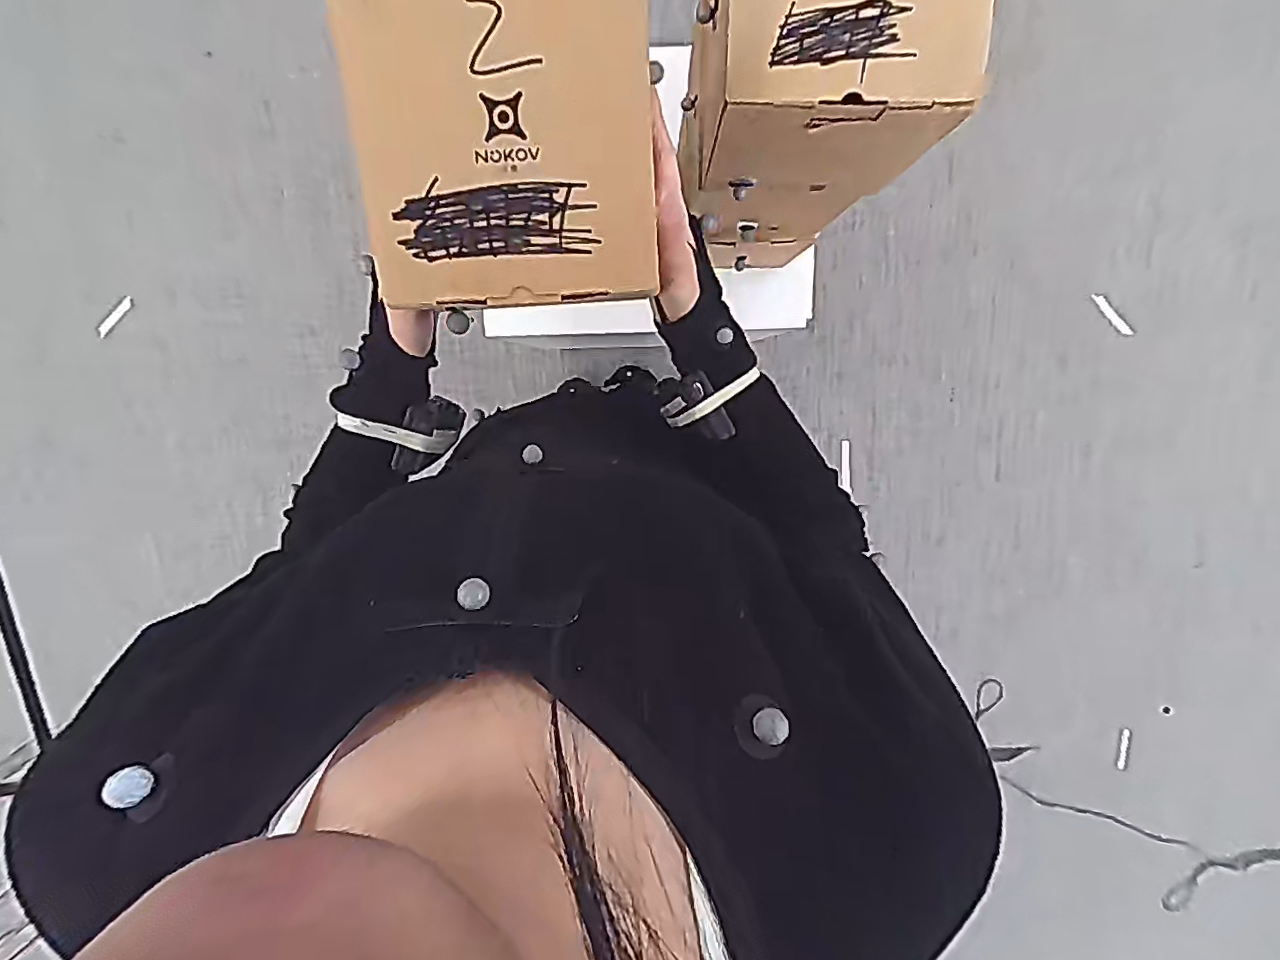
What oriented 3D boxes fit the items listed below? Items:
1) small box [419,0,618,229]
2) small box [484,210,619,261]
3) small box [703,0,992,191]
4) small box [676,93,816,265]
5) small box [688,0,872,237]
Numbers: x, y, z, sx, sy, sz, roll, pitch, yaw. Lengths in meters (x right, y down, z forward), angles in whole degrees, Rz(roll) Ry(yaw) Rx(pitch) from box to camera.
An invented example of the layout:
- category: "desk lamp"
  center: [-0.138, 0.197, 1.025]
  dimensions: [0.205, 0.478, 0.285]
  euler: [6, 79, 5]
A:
- category: "small box"
  center: [-0.111, -0.374, 0.569]
  dimensions: [0.168, 0.176, 0.179]
  euler: [-3, 100, 0]
- category: "small box"
  center: [-0.116, -0.408, 0.728]
  dimensions: [0.168, 0.176, 0.179]
  euler: [-4, 101, 0]
- category: "small box"
  center: [0.140, -0.338, 0.411]
  dimensions: [0.168, 0.176, 0.179]
  euler: [1, 99, 1]
- category: "small box"
  center: [0.138, -0.393, 0.733]
  dimensions: [0.168, 0.176, 0.179]
  euler: [-1, 102, 0]
- category: "small box"
  center: [0.139, -0.372, 0.571]
  dimensions: [0.168, 0.176, 0.179]
  euler: [0, 101, 1]
